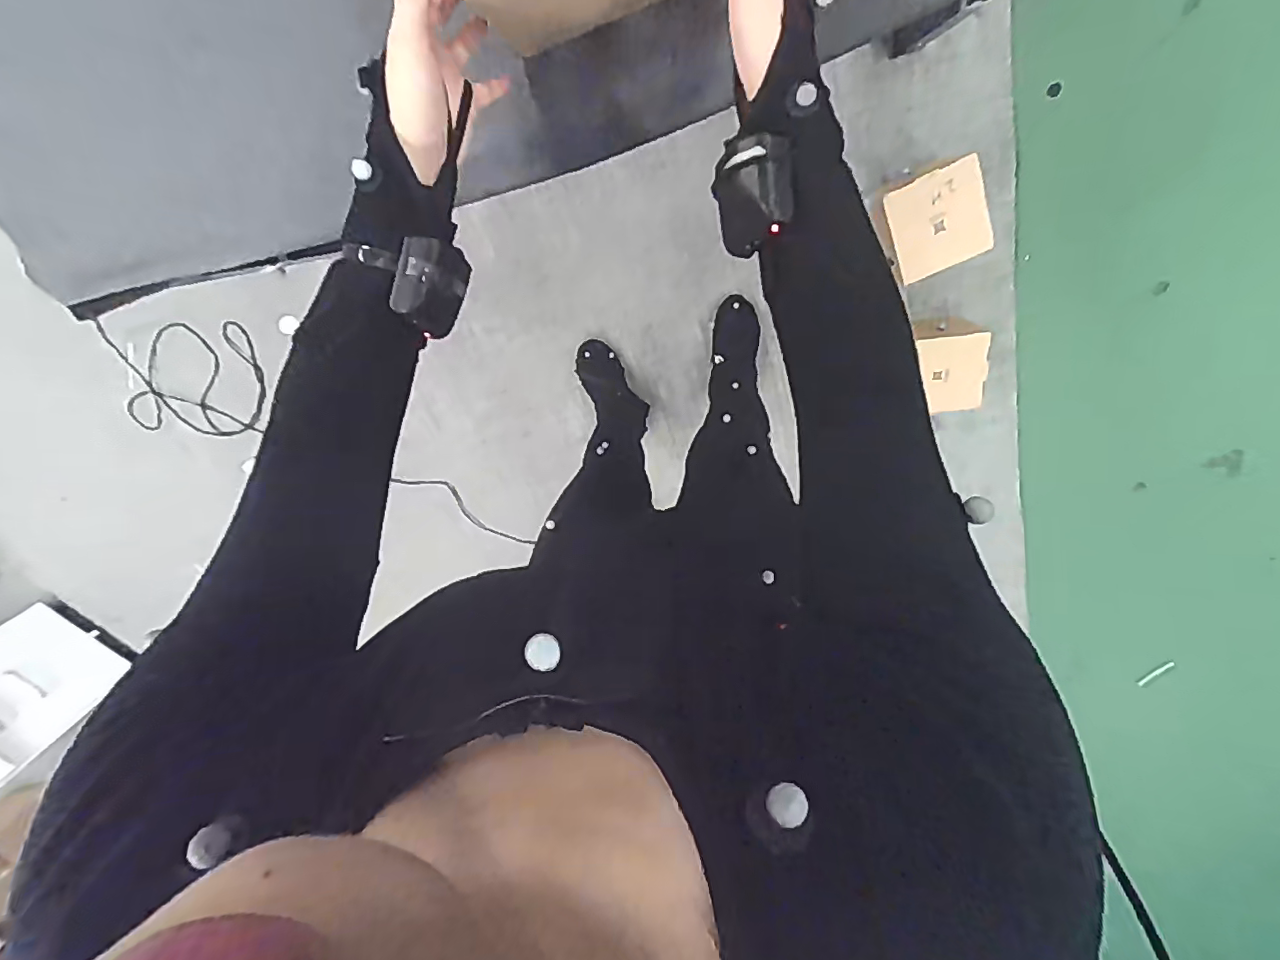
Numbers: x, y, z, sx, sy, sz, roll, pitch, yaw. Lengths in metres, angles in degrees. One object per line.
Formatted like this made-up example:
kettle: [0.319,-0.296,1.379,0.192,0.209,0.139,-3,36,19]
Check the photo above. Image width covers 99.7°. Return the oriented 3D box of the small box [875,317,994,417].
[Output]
small box: [0.639,-0.254,1.192,0.179,0.176,0.168,-5,118,10]

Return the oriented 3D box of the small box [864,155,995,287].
small box: [0.562,-0.509,1.063,0.168,0.176,0.179,-21,114,17]
